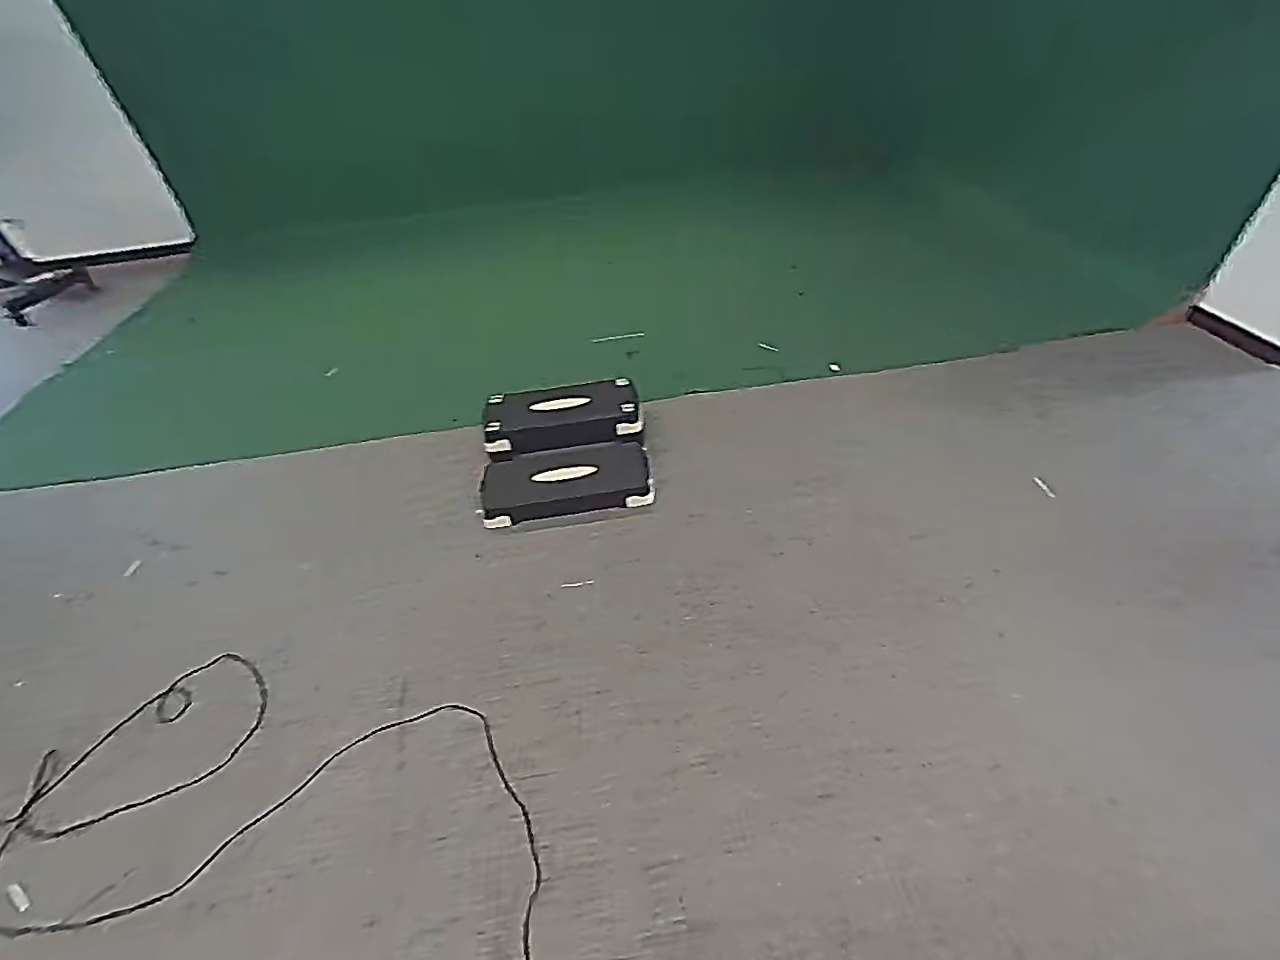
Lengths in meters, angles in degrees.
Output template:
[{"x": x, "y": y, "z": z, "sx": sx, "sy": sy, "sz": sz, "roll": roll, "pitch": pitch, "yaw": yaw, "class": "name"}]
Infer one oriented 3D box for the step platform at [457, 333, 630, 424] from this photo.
[{"x": -0.384, "y": -0.423, "z": 2.237, "sx": 0.684, "sy": 0.204, "sz": 0.286, "roll": -9, "pitch": 44, "yaw": -2, "class": "step platform"}]
